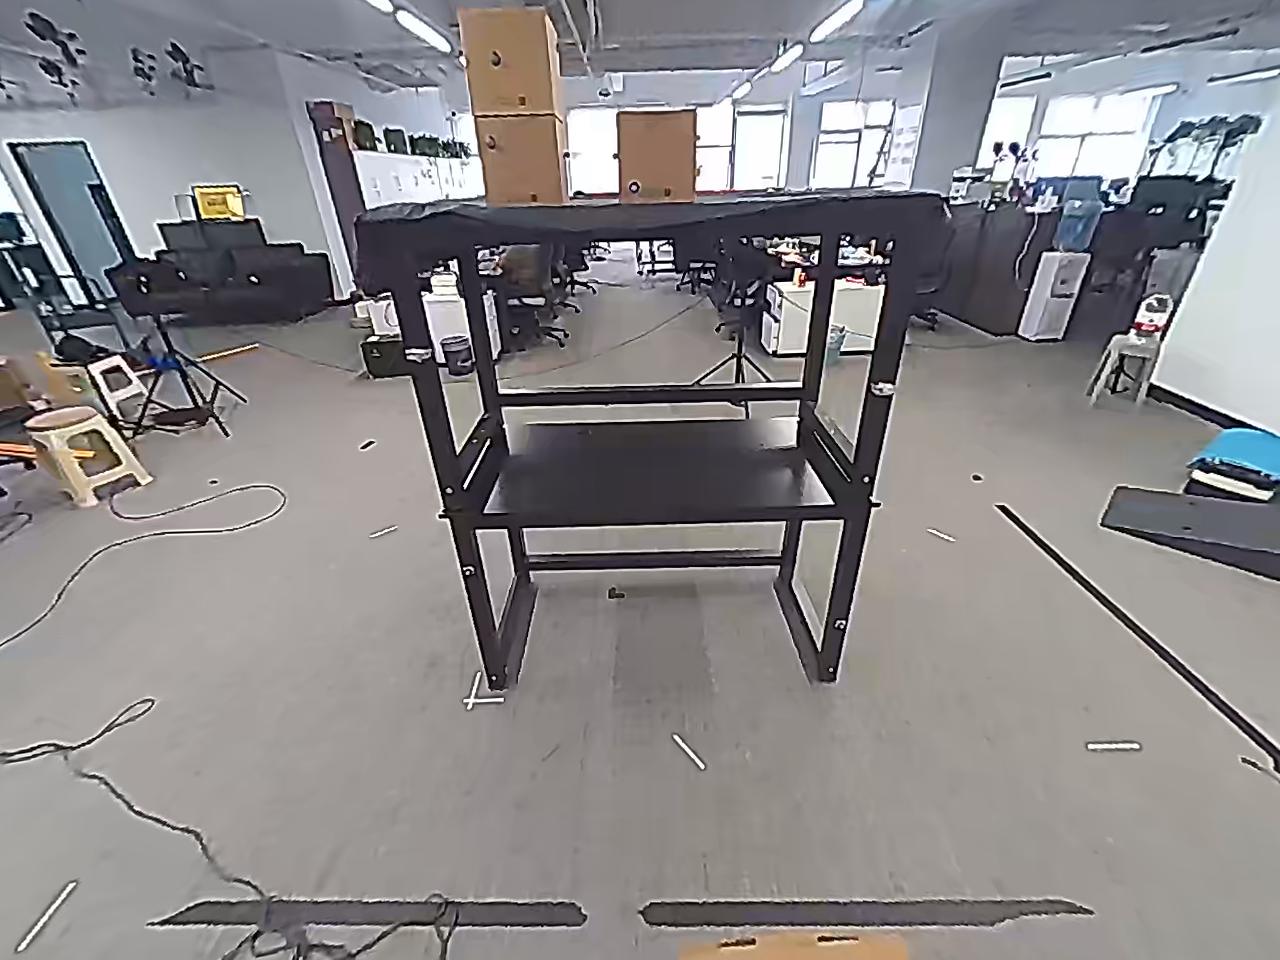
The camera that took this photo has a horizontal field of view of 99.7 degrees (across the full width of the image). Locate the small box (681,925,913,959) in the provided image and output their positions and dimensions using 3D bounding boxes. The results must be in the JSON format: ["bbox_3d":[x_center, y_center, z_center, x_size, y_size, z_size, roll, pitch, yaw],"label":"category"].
[{"bbox_3d":[0.118,0.442,0.363,0.168,0.176,0.179,-6,31,4],"label":"small box"}]

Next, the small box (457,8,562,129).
[{"bbox_3d":[-0.256,-0.835,1.111,0.168,0.176,0.179,-2,27,0],"label":"small box"}]

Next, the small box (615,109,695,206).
[{"bbox_3d":[0.034,-0.702,1.190,0.168,0.176,0.179,-1,27,1],"label":"small box"}]
